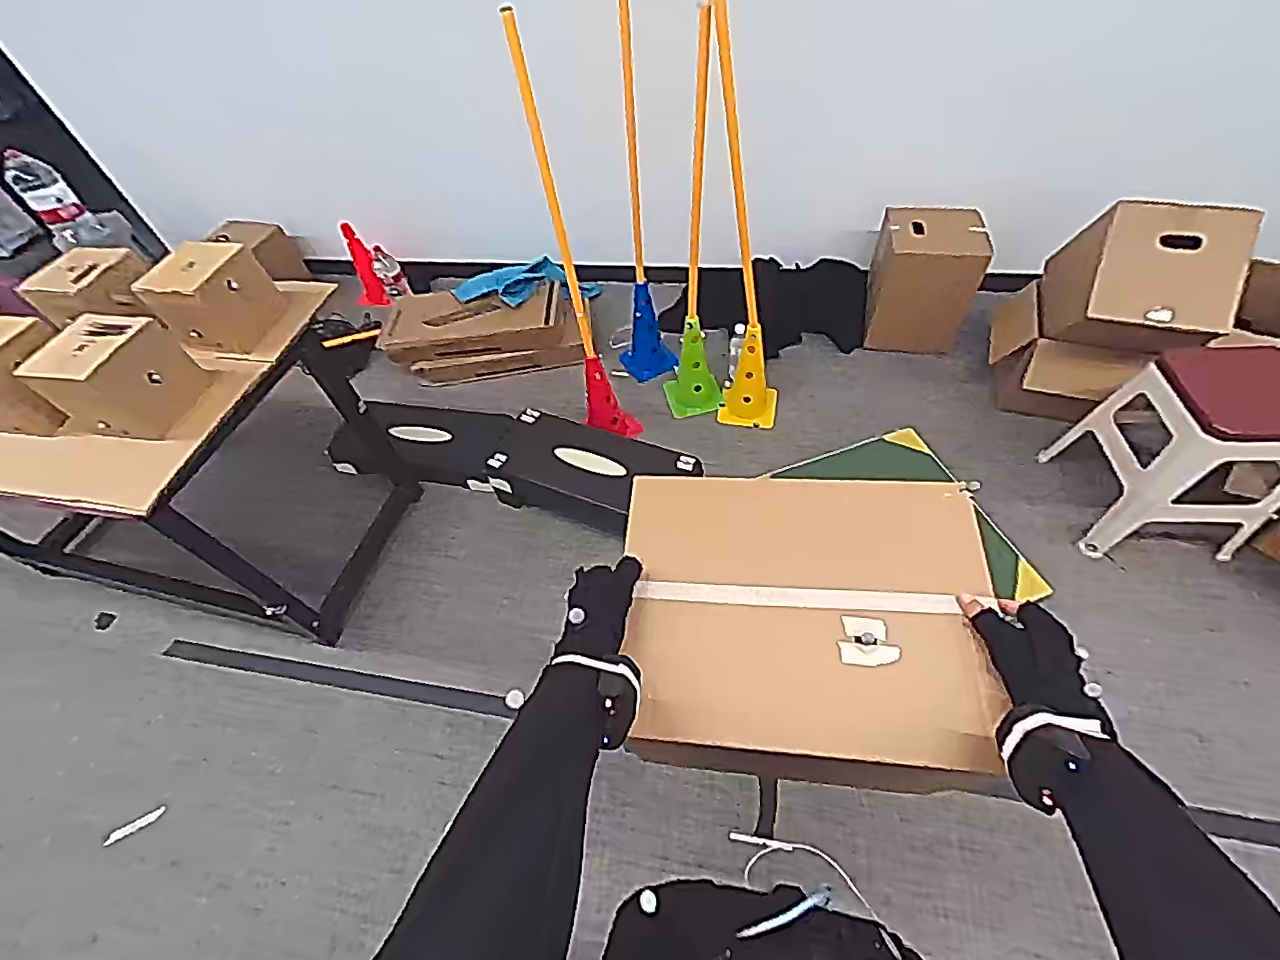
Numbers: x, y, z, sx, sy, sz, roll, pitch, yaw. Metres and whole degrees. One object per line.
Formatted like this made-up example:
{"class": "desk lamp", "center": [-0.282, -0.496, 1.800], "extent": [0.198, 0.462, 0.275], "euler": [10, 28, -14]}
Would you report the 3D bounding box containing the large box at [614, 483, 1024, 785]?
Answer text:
{"class": "large box", "center": [0.198, 0.214, 0.737], "extent": [0.408, 0.320, 0.320], "euler": [1, 59, 10]}
